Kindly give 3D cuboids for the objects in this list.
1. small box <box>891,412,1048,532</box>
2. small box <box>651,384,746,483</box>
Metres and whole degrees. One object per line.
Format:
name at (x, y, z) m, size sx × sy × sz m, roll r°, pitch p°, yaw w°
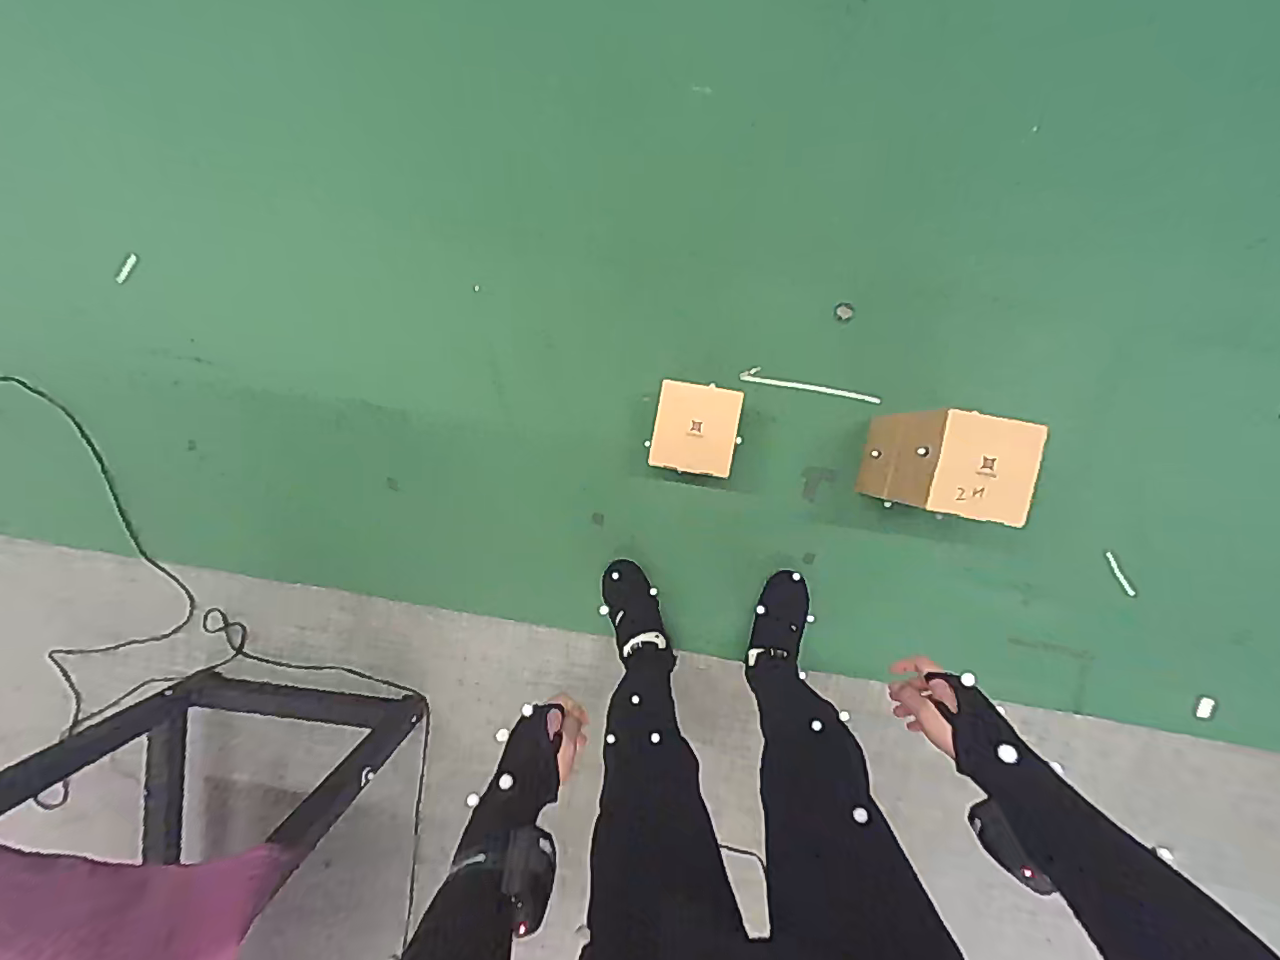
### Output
small box at (0.580, -0.018, 0.977) m, size 0.168 × 0.176 × 0.179 m, roll 11°, pitch 95°, yaw 2°
small box at (0.118, -0.098, 1.158) m, size 0.168 × 0.176 × 0.179 m, roll 10°, pitch 95°, yaw 2°
